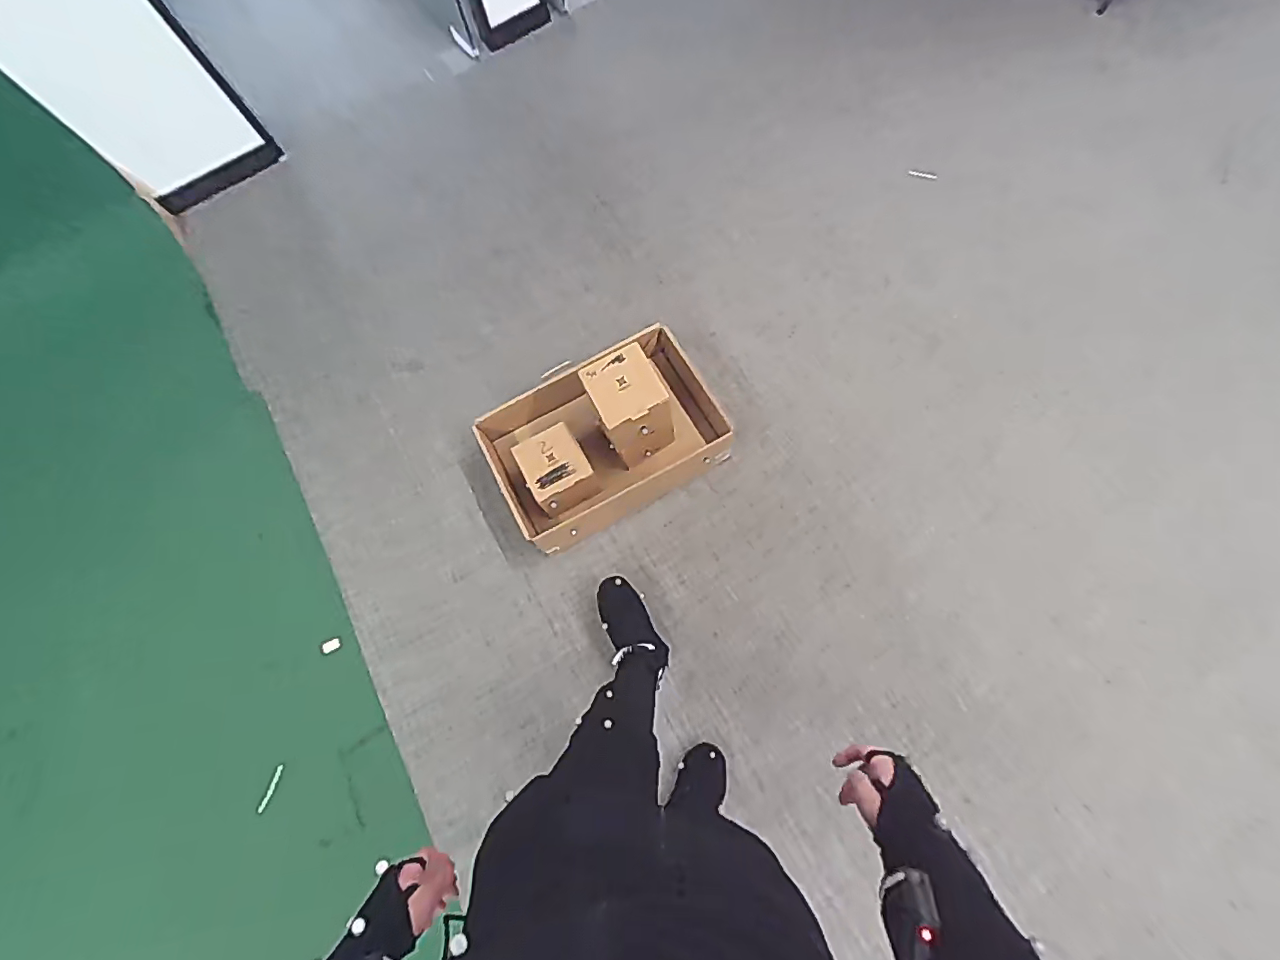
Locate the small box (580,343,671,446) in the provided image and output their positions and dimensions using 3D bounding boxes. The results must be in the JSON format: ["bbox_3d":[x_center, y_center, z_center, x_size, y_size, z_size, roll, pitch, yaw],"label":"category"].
[{"bbox_3d":[-0.029,-0.203,1.356,0.168,0.176,0.179,-27,74,-2],"label":"small box"}]
